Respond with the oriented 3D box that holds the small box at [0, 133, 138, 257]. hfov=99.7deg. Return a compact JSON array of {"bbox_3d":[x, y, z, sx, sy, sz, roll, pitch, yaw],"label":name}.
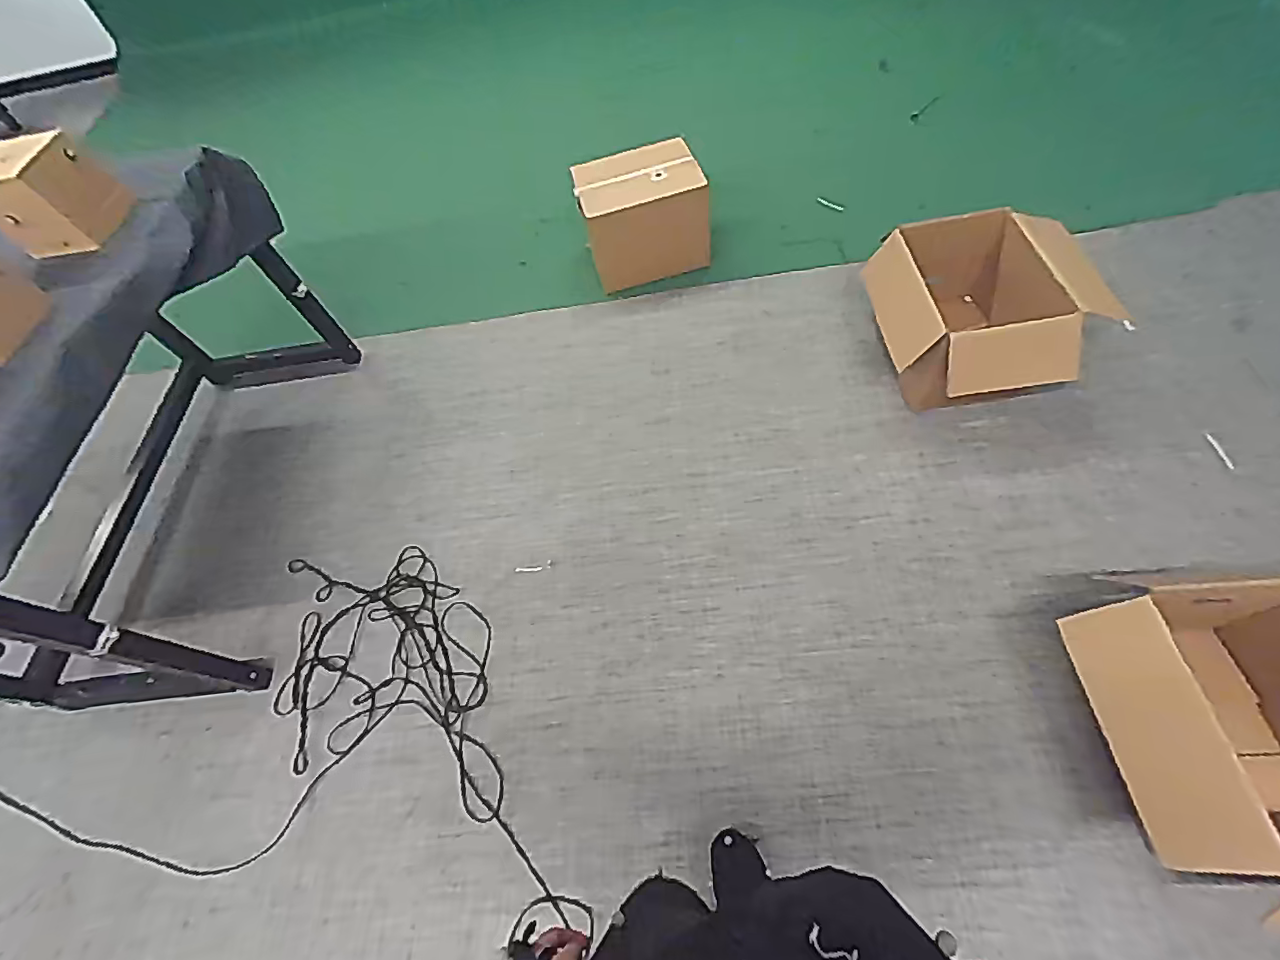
[{"bbox_3d":[-1.256,-0.603,1.165,0.168,0.176,0.179,-5,59,7],"label":"small box"}]
